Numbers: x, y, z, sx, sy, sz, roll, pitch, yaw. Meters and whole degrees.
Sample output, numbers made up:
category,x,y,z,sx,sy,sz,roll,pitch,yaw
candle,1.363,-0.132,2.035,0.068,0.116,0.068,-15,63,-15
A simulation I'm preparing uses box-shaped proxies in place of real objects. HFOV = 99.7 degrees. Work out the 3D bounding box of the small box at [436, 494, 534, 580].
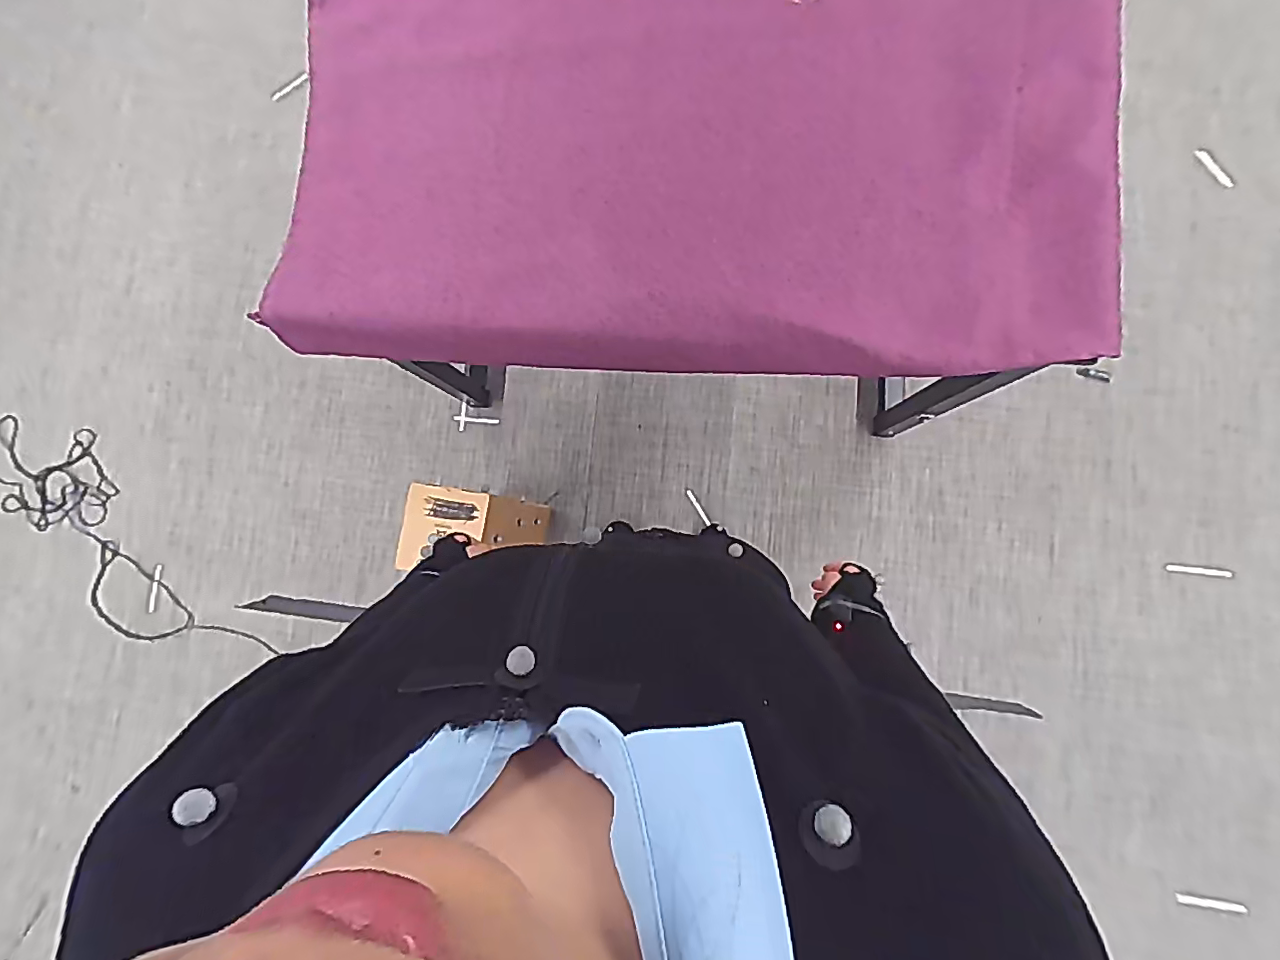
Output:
category,x,y,z,sx,sy,sz,roll,pitch,yaw
small box,-0.360,0.134,1.289,0.168,0.176,0.179,6,86,5

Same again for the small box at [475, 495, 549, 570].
category,x,y,z,sx,sy,sz,roll,pitch,yaw
small box,-0.355,0.145,1.454,0.168,0.176,0.179,12,86,5
